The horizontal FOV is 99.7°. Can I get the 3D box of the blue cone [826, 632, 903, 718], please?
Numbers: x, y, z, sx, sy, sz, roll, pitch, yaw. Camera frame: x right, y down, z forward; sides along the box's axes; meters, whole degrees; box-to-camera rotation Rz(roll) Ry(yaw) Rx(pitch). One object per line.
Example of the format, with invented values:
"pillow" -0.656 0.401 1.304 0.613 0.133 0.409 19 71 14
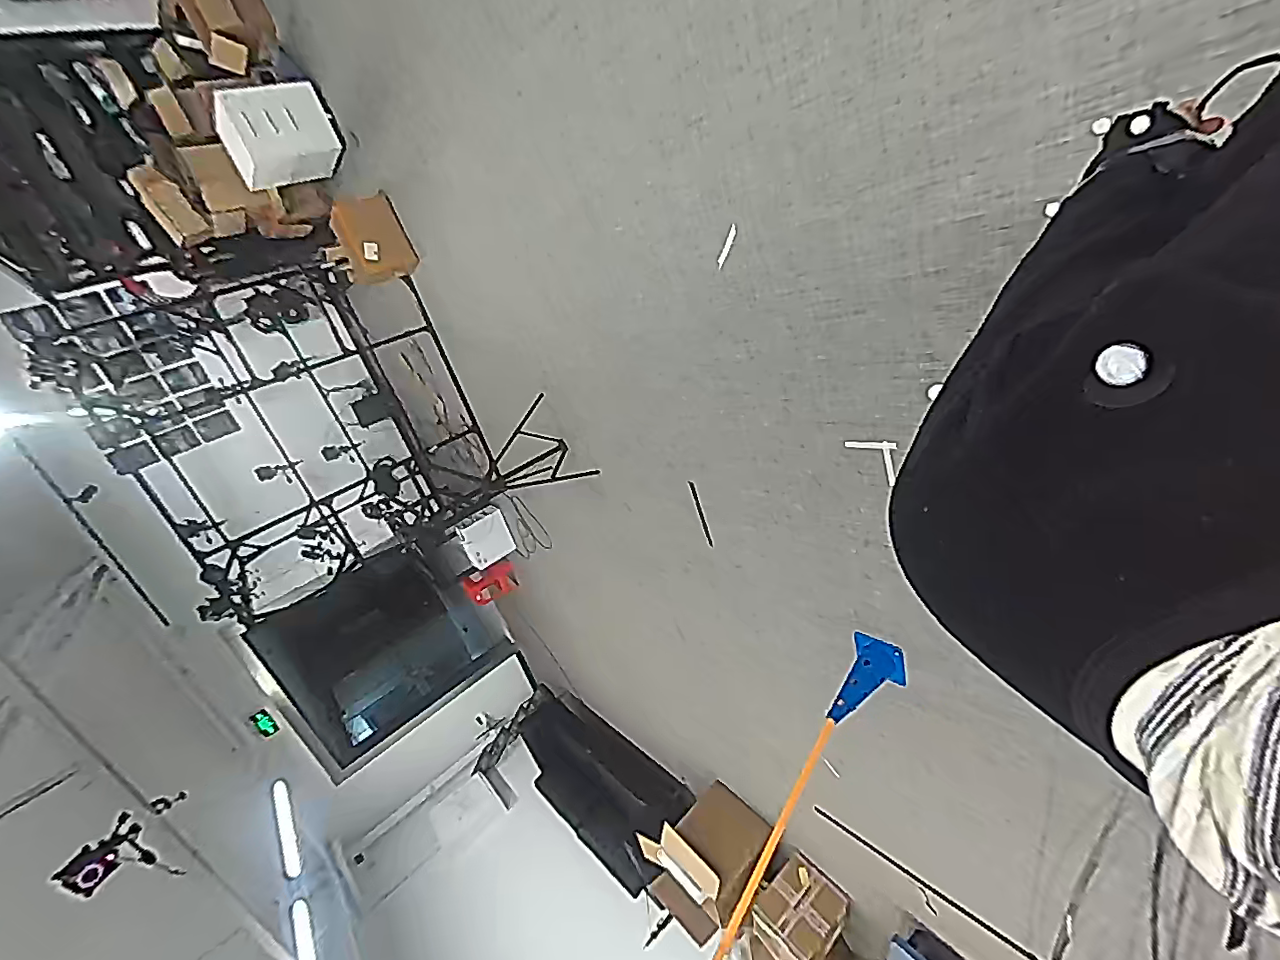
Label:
"blue cone" 0.827 0.774 2.056 0.193 0.380 0.192 16 130 49
